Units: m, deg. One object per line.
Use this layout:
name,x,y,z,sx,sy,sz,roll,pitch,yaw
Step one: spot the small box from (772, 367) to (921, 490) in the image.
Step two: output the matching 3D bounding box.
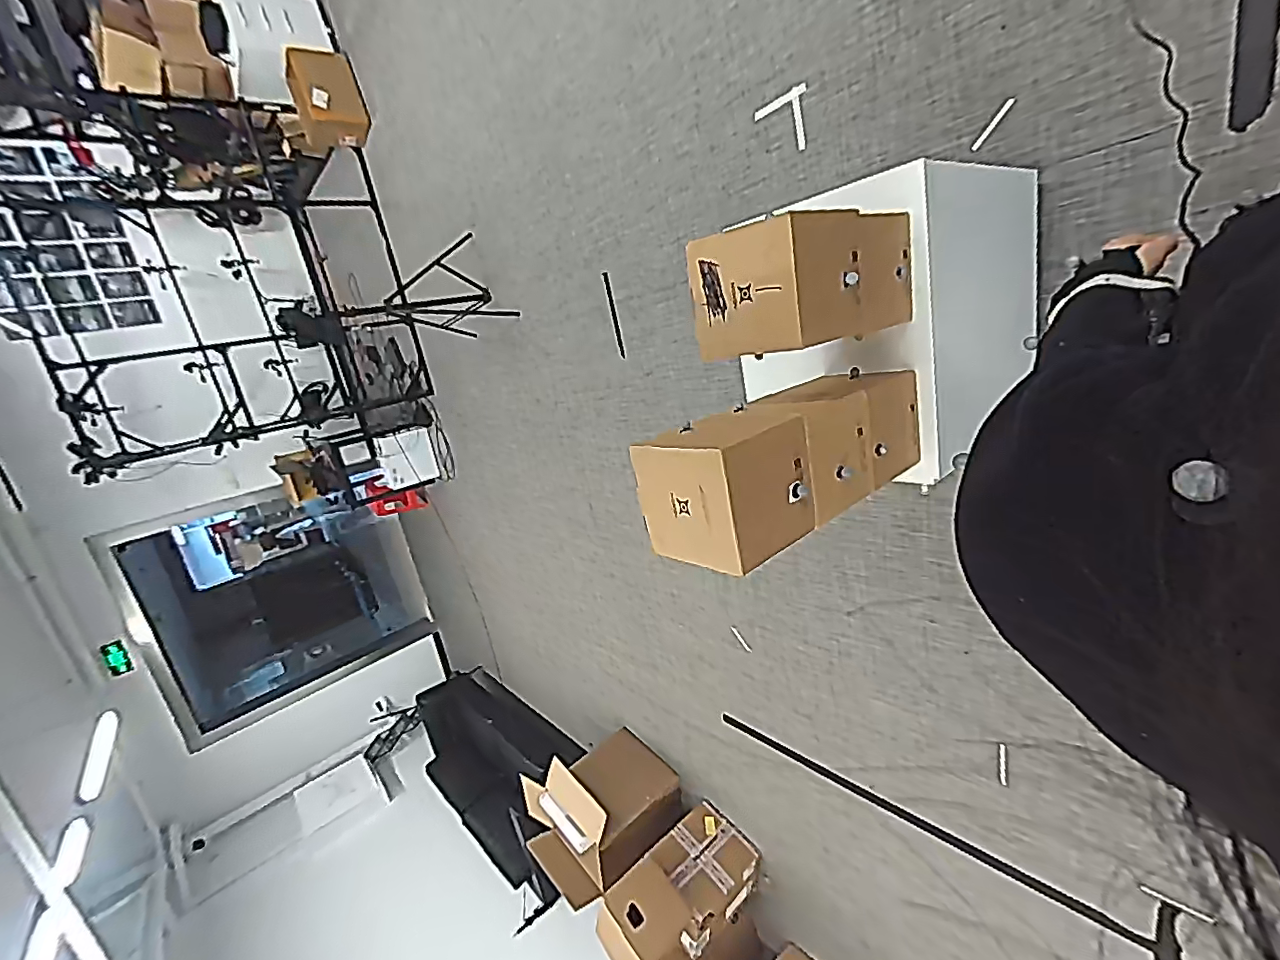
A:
small box,0.358,-0.095,0.935,0.179,0.176,0.168,9,116,51

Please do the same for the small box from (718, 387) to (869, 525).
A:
small box,0.237,-0.044,0.839,0.179,0.176,0.168,7,113,51

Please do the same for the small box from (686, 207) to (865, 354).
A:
small box,0.193,-0.277,0.766,0.179,0.176,0.168,9,116,48

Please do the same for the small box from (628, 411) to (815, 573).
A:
small box,0.114,0.005,0.746,0.179,0.176,0.168,5,113,50
